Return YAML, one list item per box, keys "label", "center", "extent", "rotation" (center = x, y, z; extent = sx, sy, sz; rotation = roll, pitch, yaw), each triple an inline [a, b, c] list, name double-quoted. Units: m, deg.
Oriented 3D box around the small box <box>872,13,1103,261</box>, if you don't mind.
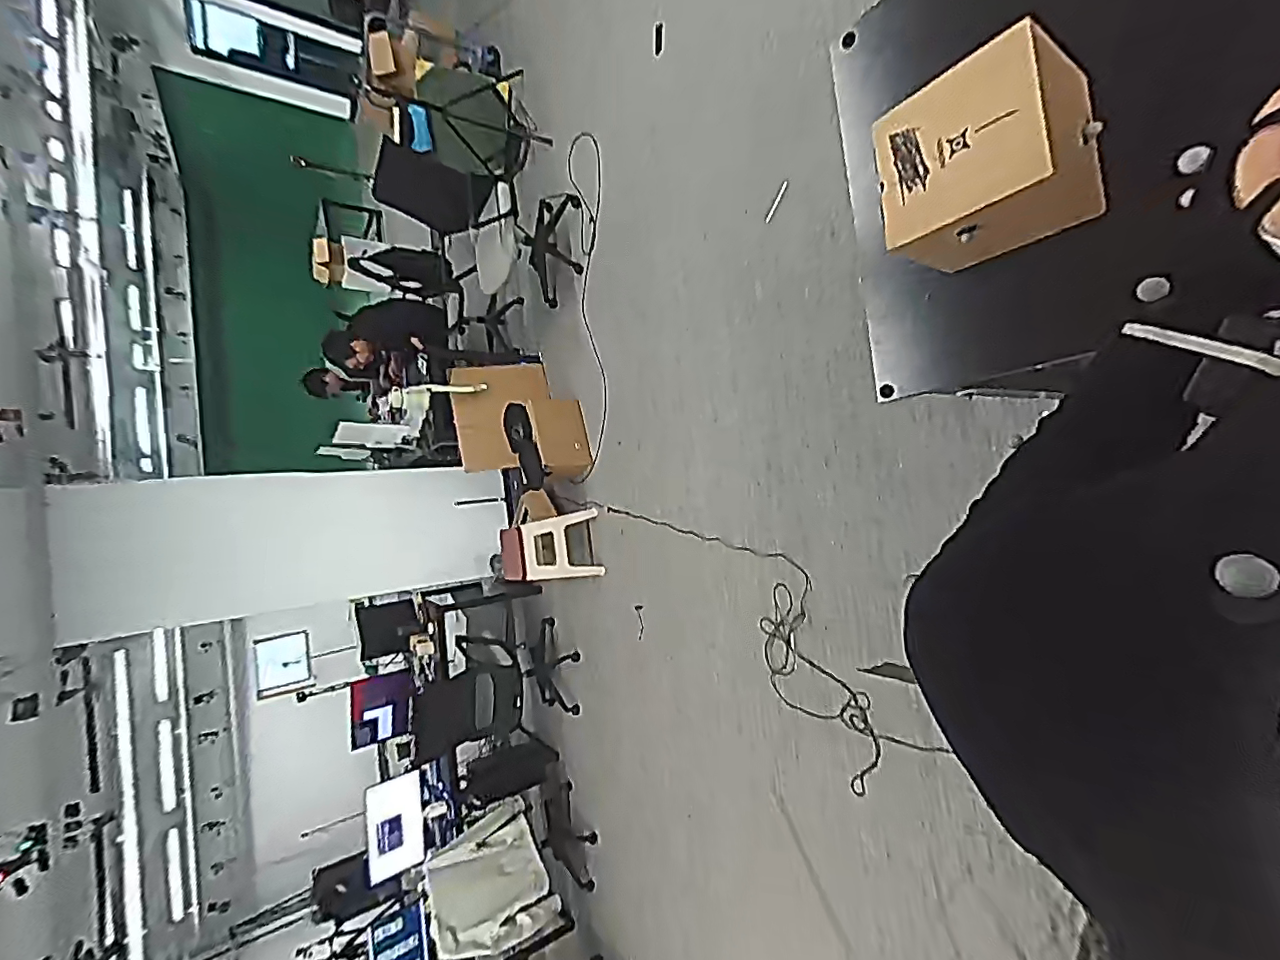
- label: "small box"
  center: [0.413, -0.384, 0.650]
  extent: [0.179, 0.176, 0.168]
  rotation: [-9, 87, 54]
